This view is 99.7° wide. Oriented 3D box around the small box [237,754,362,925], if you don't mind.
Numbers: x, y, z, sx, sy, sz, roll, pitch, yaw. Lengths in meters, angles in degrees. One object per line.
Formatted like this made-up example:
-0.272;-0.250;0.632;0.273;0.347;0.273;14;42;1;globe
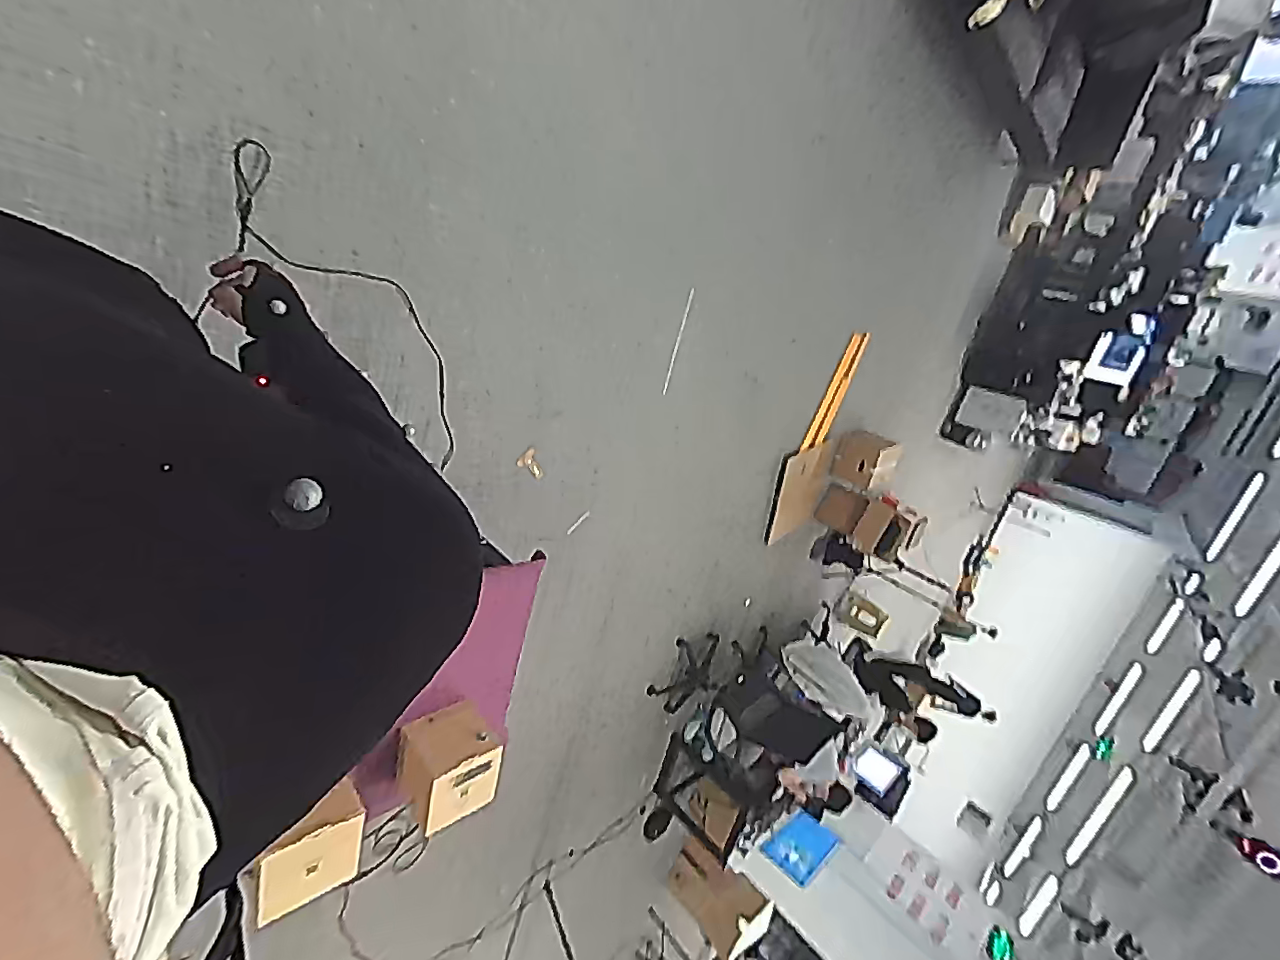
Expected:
-0.654;0.674;1.035;0.168;0.176;0.179;-4;114;-45;small box

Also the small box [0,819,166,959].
-0.847;0.676;0.829;0.168;0.176;0.179;-2;114;-47;small box
